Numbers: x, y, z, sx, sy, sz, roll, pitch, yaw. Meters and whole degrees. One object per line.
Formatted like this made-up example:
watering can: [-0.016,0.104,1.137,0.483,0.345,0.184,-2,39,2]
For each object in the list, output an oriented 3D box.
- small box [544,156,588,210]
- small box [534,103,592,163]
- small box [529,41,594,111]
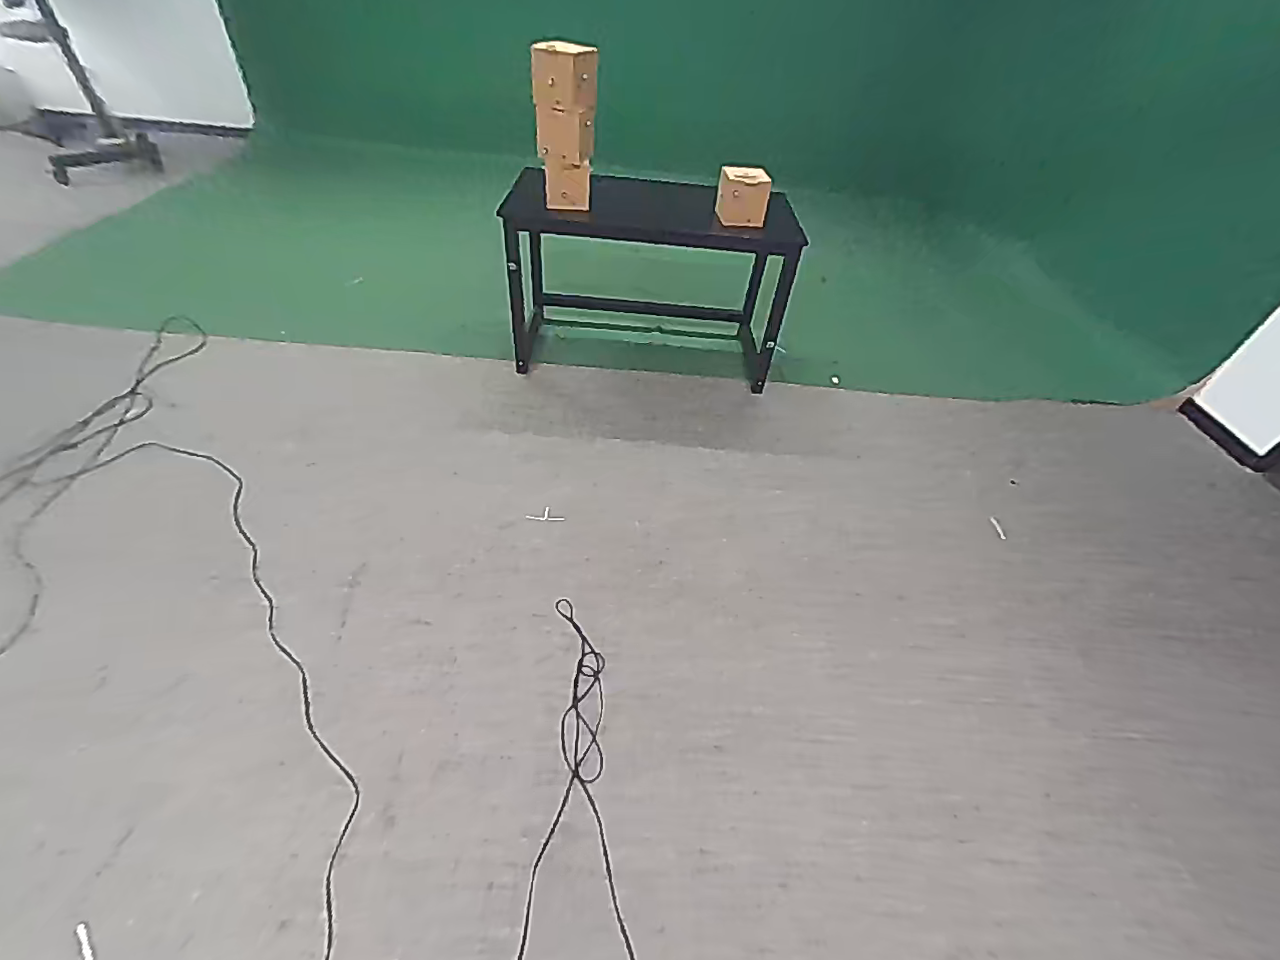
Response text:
small box: [-0.295,-1.188,2.135,0.168,0.176,0.179,-1,46,-9]
small box: [-0.284,-1.304,2.020,0.168,0.176,0.179,14,45,6]
small box: [-0.272,-1.425,1.909,0.168,0.176,0.179,22,48,13]
